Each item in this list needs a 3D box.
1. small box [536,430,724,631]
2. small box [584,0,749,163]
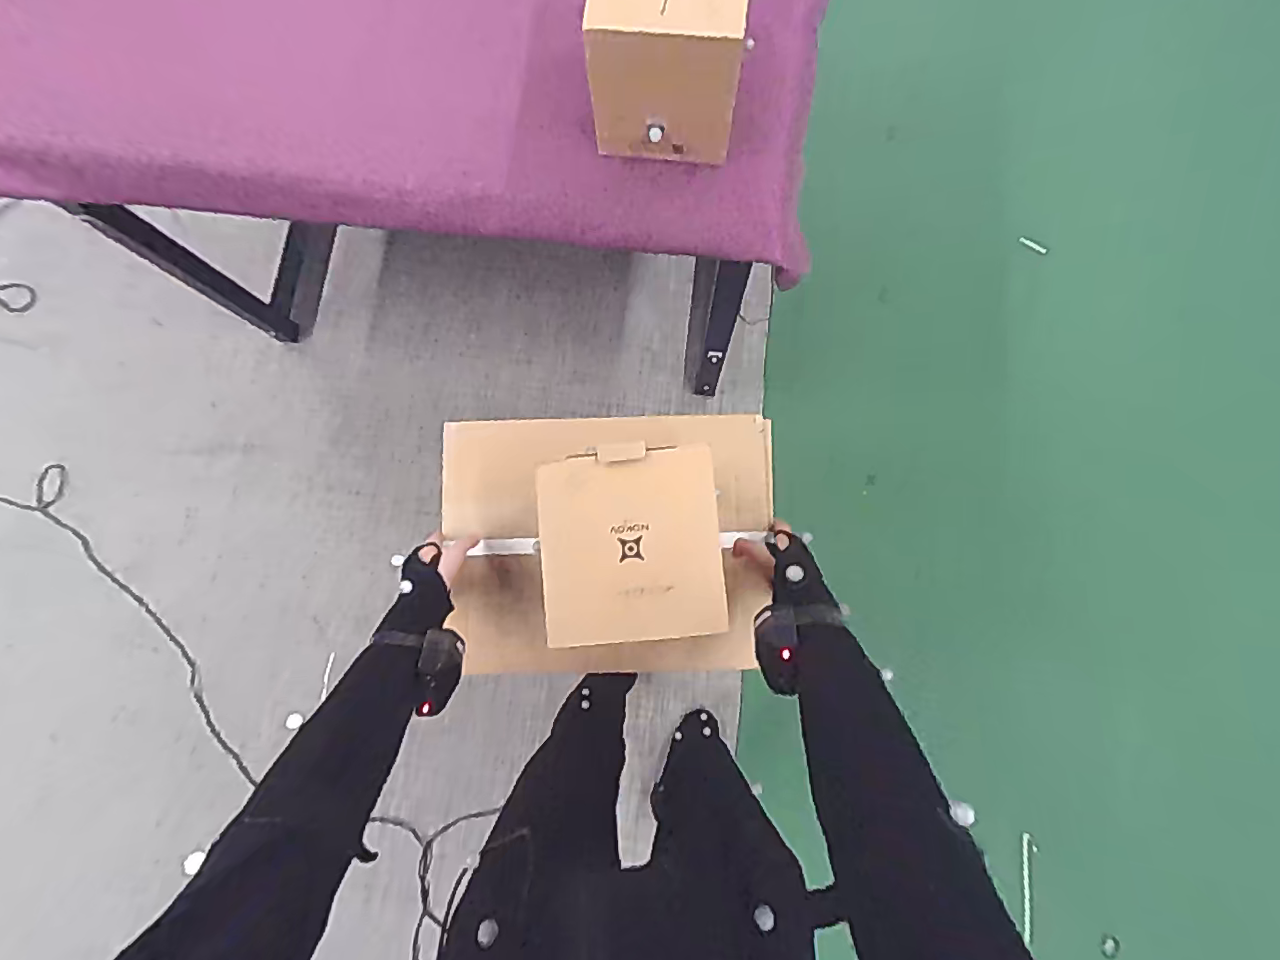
[{"bbox_3d":[-0.011,0.053,0.574,0.168,0.176,0.179,-5,85,1],"label":"small box"},{"bbox_3d":[0.036,-0.517,0.637,0.168,0.176,0.179,7,80,4],"label":"small box"}]
